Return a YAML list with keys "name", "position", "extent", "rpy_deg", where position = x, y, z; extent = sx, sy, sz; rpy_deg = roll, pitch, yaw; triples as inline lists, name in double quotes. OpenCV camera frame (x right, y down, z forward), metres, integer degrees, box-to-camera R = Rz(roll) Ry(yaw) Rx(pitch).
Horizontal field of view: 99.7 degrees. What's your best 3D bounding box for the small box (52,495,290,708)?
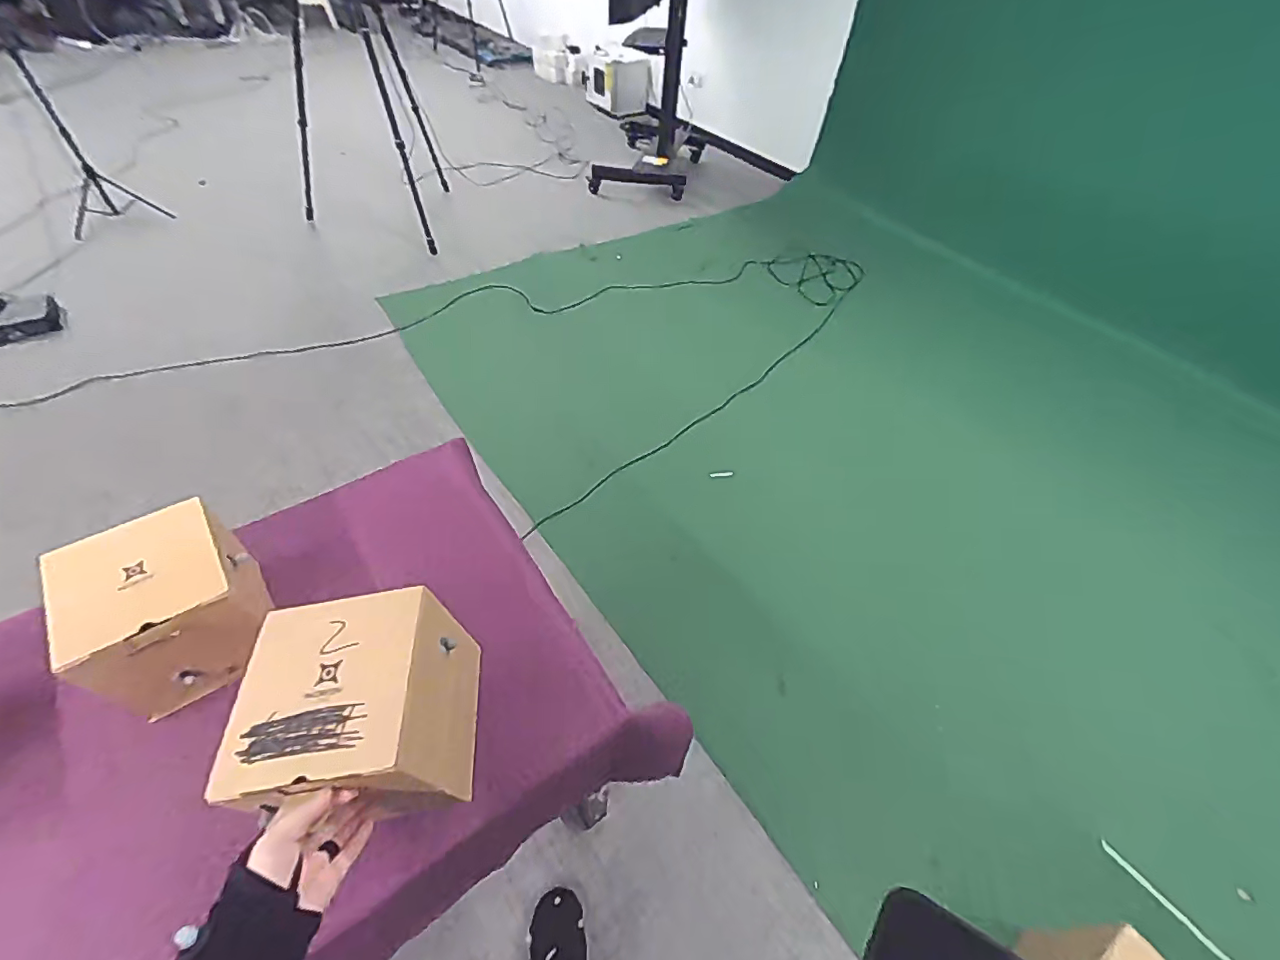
- name: "small box"
  position: [-0.594, 0.158, 0.701]
  extent: [0.168, 0.176, 0.179]
  rpy_deg: [-29, 58, -26]
